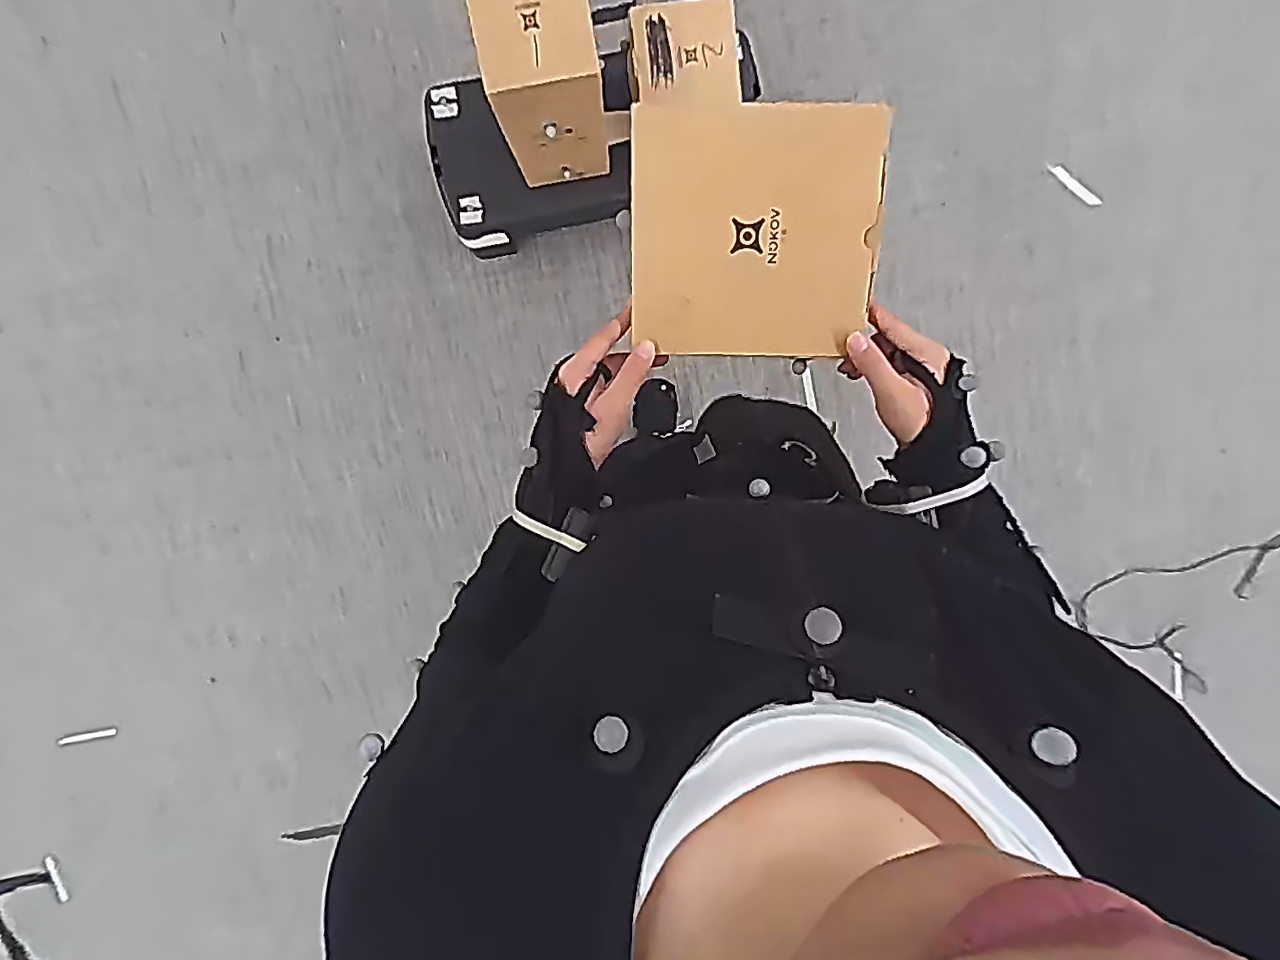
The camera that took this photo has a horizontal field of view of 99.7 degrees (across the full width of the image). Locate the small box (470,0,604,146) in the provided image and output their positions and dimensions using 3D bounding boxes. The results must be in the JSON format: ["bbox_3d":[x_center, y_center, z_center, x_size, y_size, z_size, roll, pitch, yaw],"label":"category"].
[{"bbox_3d":[-0.150,-0.647,0.818,0.168,0.176,0.179,-10,99,0],"label":"small box"}]

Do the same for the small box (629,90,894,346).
[{"bbox_3d":[0.083,-0.201,0.457,0.179,0.176,0.168,1,106,1],"label":"small box"}]

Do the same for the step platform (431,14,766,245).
[{"bbox_3d":[-0.078,-0.727,1.149,0.684,0.204,0.286,-11,98,1],"label":"step platform"}]

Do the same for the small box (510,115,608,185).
[{"bbox_3d":[-0.152,-0.668,0.981,0.168,0.176,0.179,-9,99,0],"label":"small box"}]
